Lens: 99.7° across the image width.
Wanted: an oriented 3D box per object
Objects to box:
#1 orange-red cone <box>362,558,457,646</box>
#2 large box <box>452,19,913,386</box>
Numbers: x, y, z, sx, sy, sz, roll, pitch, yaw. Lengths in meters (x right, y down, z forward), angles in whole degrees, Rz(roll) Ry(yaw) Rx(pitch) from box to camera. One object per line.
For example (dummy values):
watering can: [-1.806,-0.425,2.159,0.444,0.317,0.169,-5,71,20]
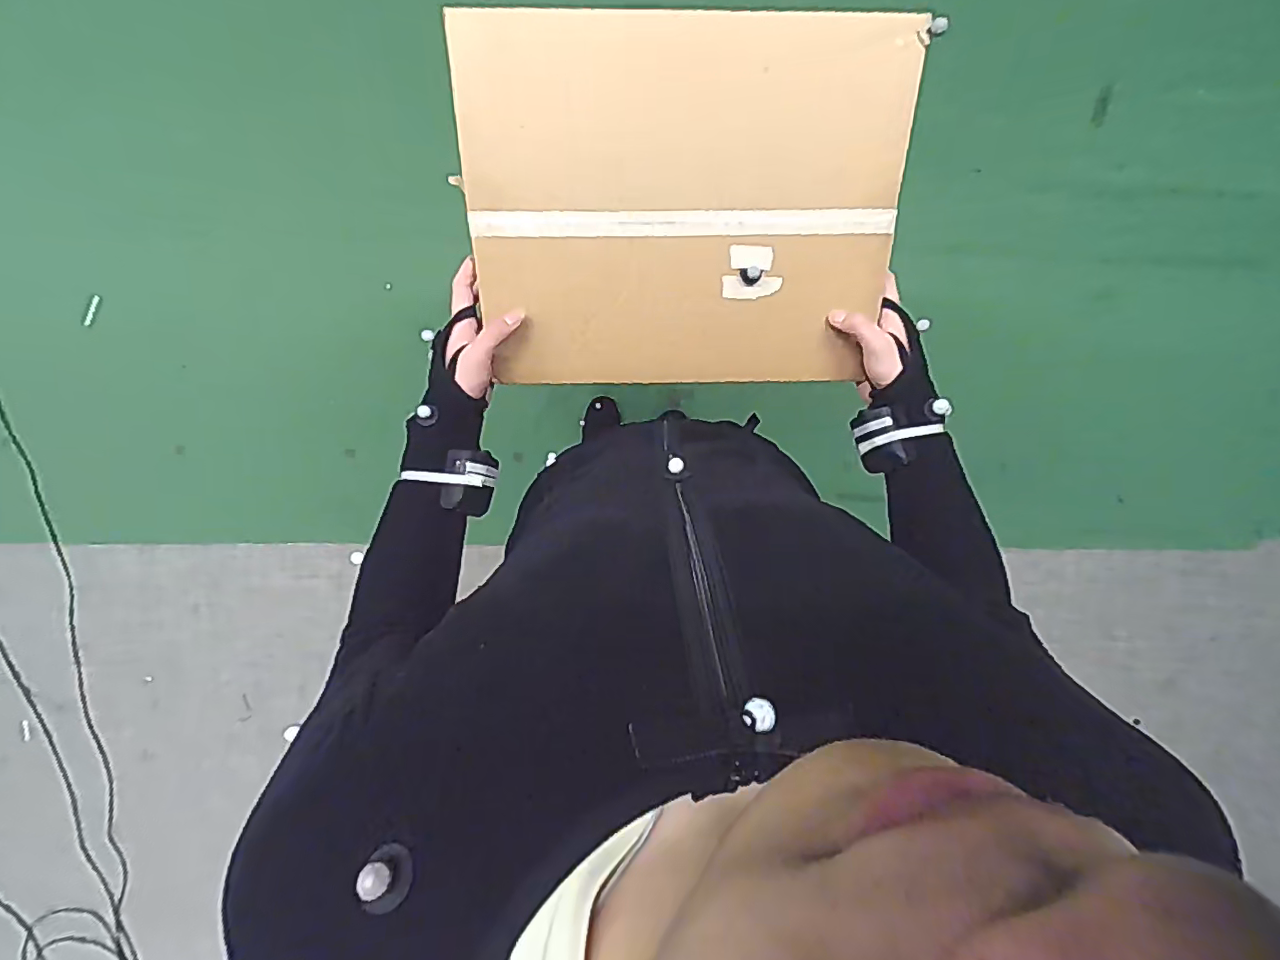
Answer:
orange-red cone: [-0.672,0.369,1.504,0.199,0.360,0.198,8,98,-1]
large box: [0.034,-0.311,0.656,0.408,0.320,0.320,-2,116,-2]
